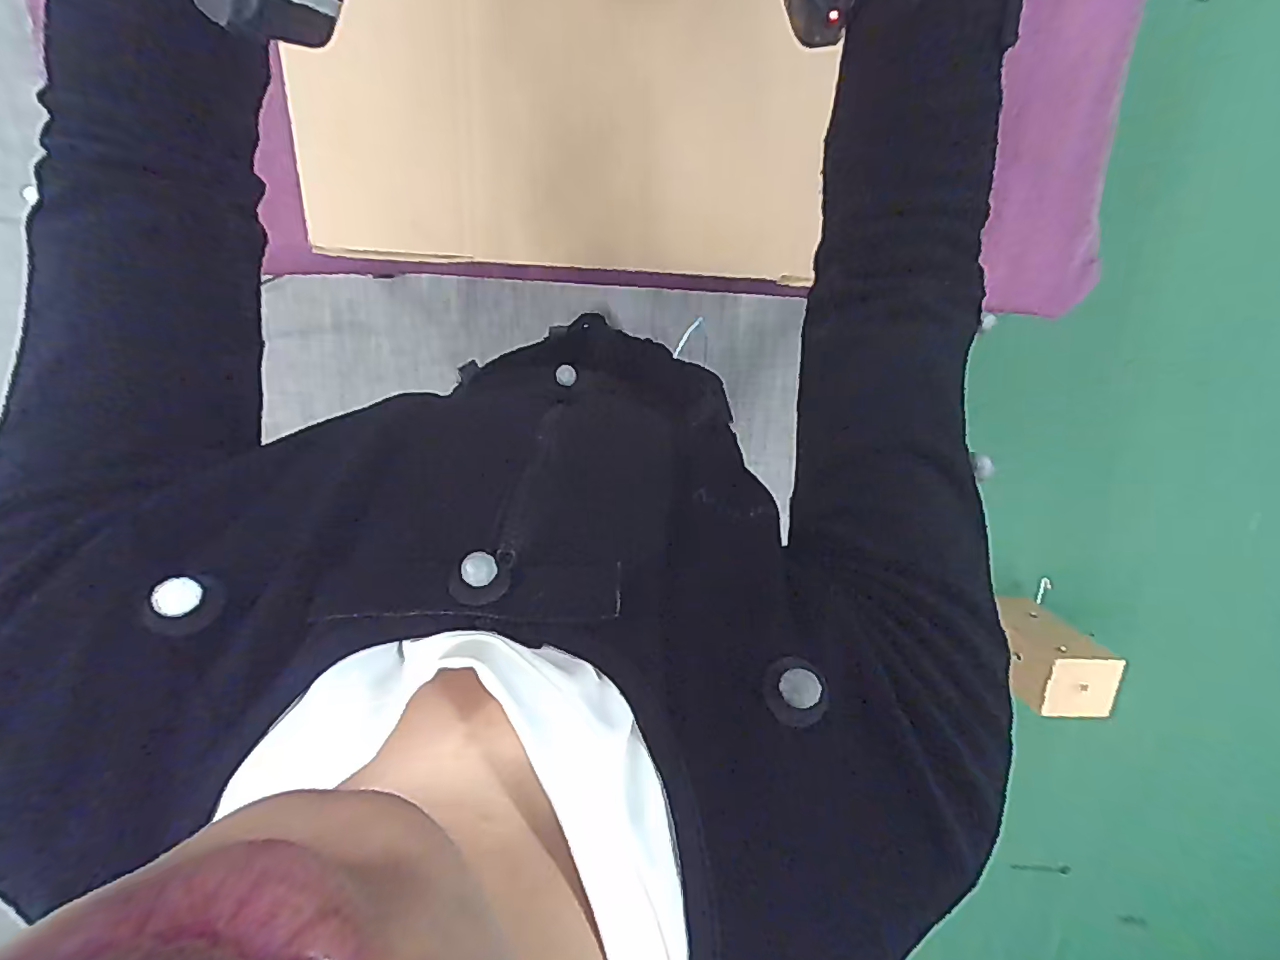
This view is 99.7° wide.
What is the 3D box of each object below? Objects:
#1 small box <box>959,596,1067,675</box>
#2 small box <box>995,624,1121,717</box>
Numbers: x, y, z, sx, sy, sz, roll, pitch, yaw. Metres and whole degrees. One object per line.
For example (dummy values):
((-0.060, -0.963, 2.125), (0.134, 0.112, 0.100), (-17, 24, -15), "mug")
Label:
((1.069, 0.447, 1.560), (0.179, 0.176, 0.168), (3, 105, -2), "small box")
((1.074, 0.489, 1.403), (0.179, 0.176, 0.168), (2, 106, -1), "small box")
